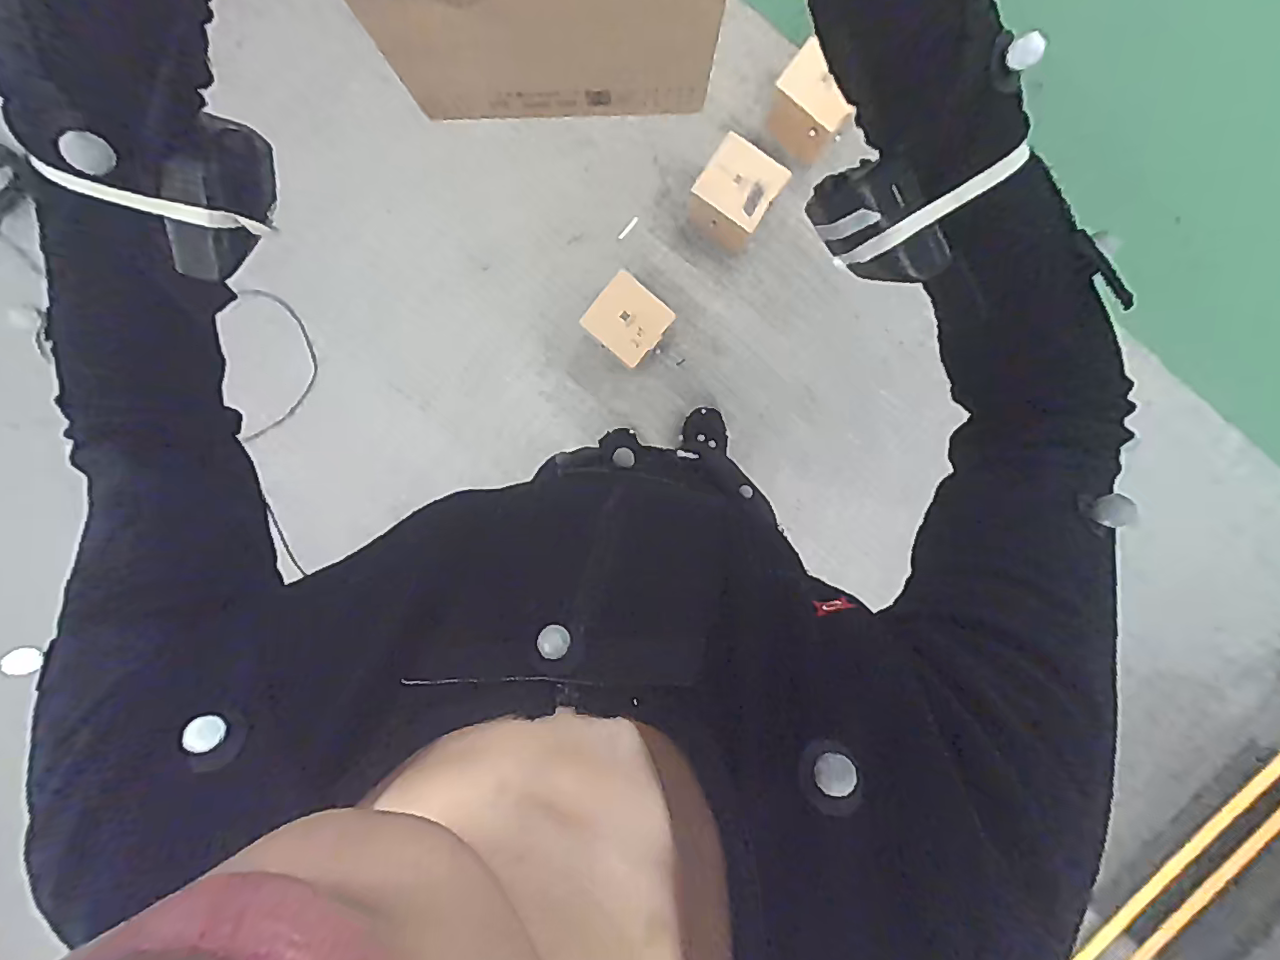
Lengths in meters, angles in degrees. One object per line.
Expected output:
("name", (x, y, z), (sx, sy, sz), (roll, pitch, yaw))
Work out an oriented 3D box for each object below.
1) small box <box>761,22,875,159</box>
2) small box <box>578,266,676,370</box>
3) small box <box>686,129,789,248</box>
("small box", (0.417, -0.923, 1.304), (0.179, 0.176, 0.168), (38, 95, -3))
("small box", (-0.030, -0.393, 1.352), (0.179, 0.176, 0.168), (40, 95, -3))
("small box", (0.229, -0.699, 1.324), (0.179, 0.176, 0.168), (35, 94, -1))
